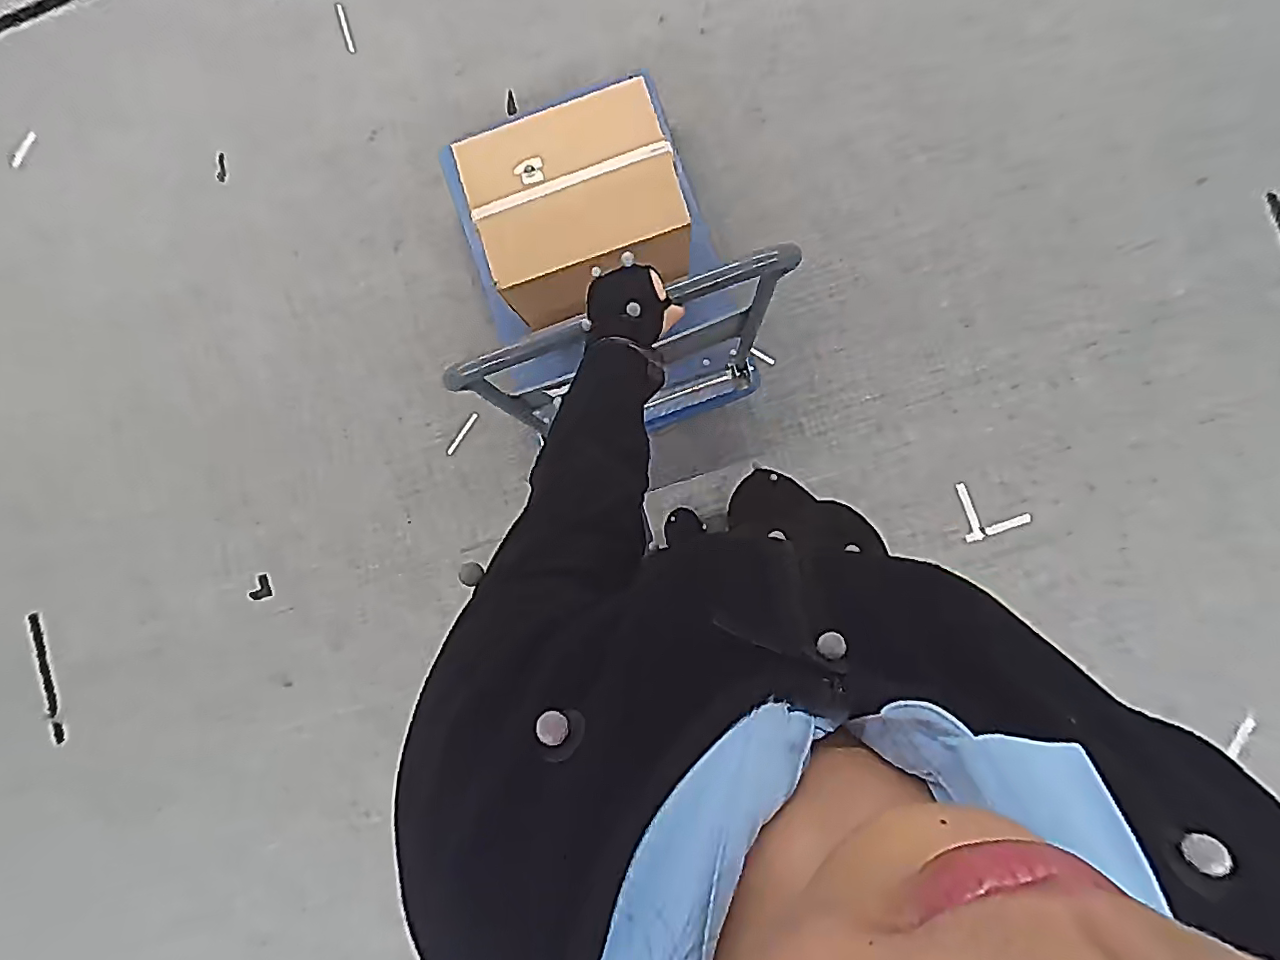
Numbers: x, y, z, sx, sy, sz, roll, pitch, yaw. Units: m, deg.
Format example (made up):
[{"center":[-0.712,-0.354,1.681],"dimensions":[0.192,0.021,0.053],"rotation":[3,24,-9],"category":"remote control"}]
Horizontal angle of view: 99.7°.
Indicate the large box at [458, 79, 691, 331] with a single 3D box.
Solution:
[{"center":[-0.122,-0.582,1.219],"dimensions":[0.408,0.320,0.320],"rotation":[-18,86,5],"category":"large box"}]
